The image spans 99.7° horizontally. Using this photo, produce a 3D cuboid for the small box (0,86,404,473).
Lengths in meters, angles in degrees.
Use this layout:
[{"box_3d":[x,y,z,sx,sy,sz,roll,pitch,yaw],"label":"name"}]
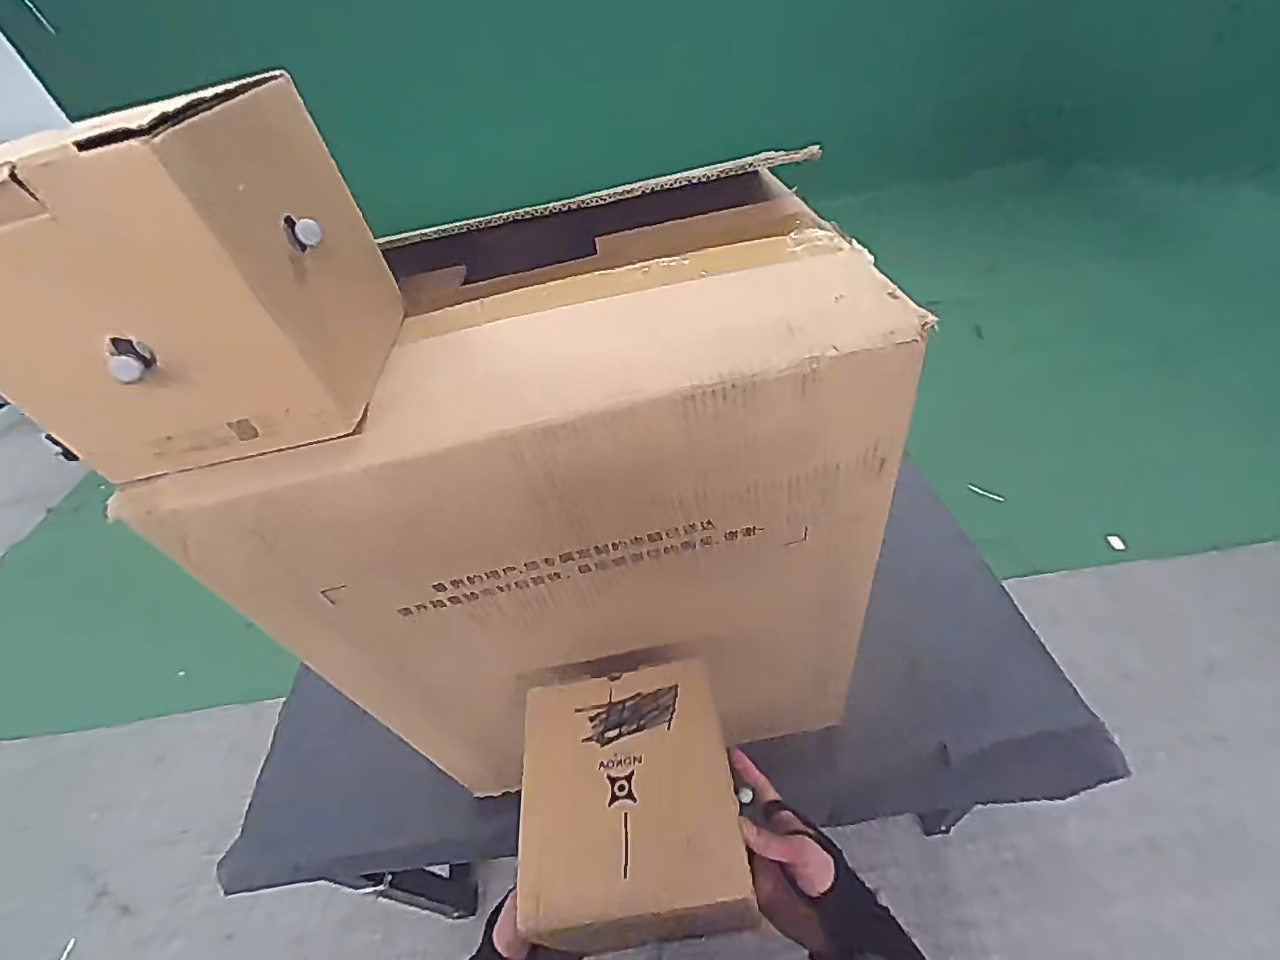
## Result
[{"box_3d":[-0.278,-0.122,0.351,0.168,0.176,0.179,-12,45,2],"label":"small box"}]
